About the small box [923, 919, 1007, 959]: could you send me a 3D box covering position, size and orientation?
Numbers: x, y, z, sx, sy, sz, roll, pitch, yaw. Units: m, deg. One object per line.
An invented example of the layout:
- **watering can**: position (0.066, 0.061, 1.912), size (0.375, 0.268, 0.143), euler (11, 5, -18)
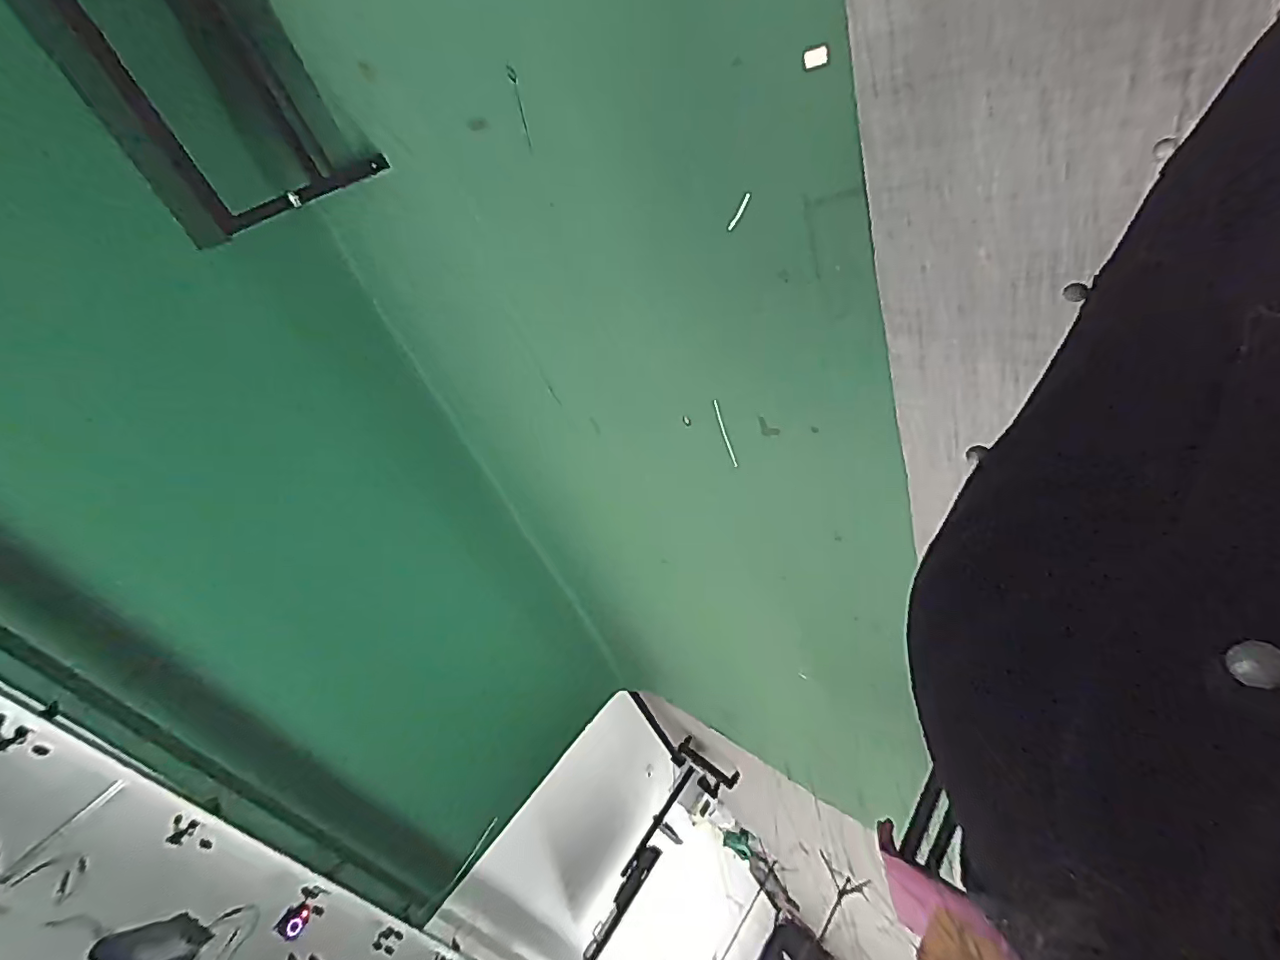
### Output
- **small box**: position (0.953, 1.444, 1.590), size (0.179, 0.176, 0.168), euler (14, 139, 46)
